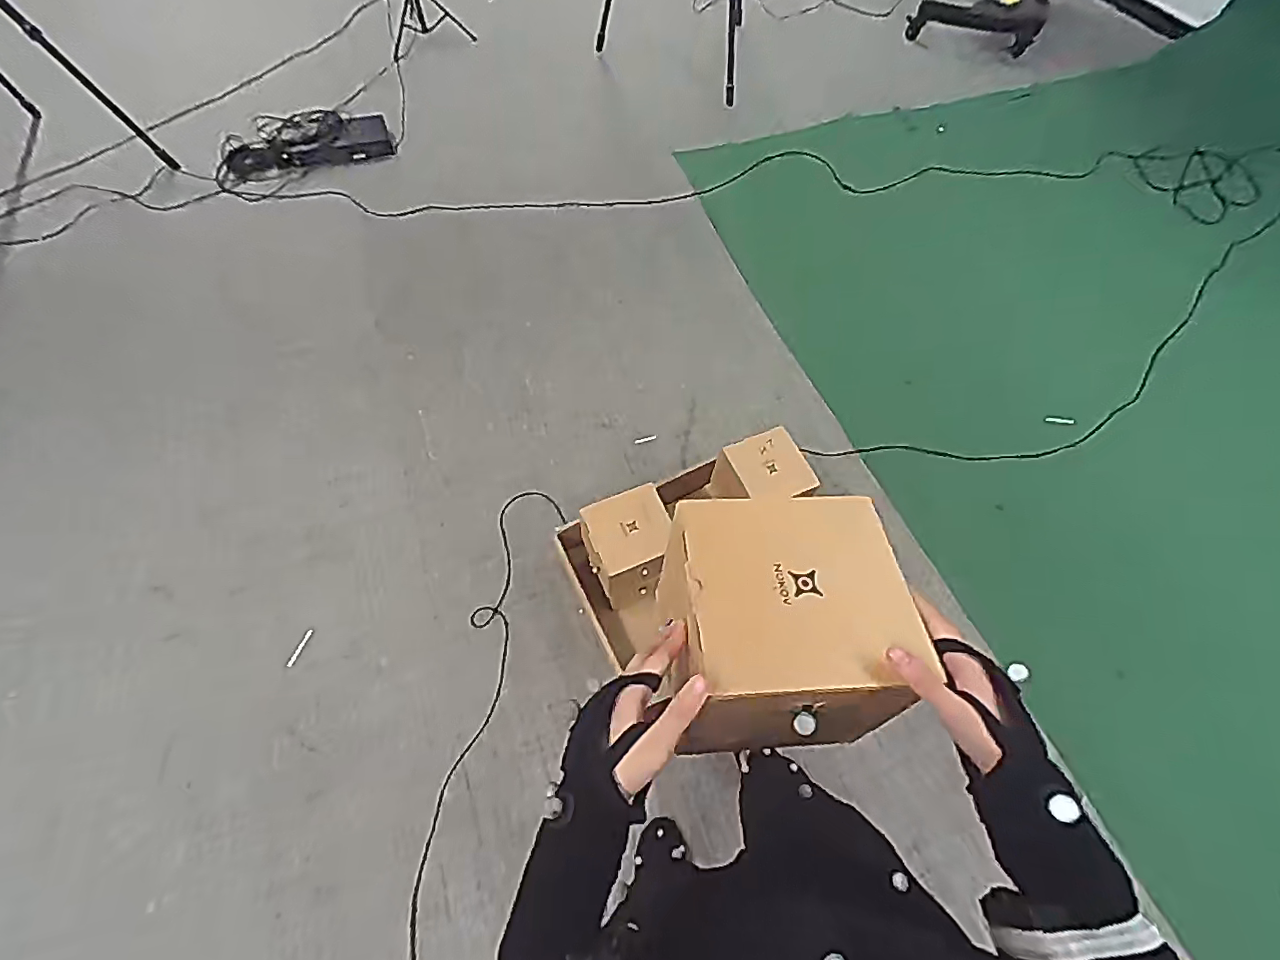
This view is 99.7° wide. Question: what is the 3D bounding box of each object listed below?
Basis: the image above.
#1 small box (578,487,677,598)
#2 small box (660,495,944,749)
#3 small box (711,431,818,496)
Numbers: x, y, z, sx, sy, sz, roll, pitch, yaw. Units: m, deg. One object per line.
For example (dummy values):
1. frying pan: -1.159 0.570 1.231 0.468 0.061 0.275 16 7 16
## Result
1. small box: -0.028 0.146 1.211 0.179 0.176 0.168 -19 66 -14
2. small box: 0.118 0.128 0.481 0.179 0.176 0.168 -1 50 -5
3. small box: 0.288 0.018 1.292 0.168 0.176 0.179 -20 64 -14
